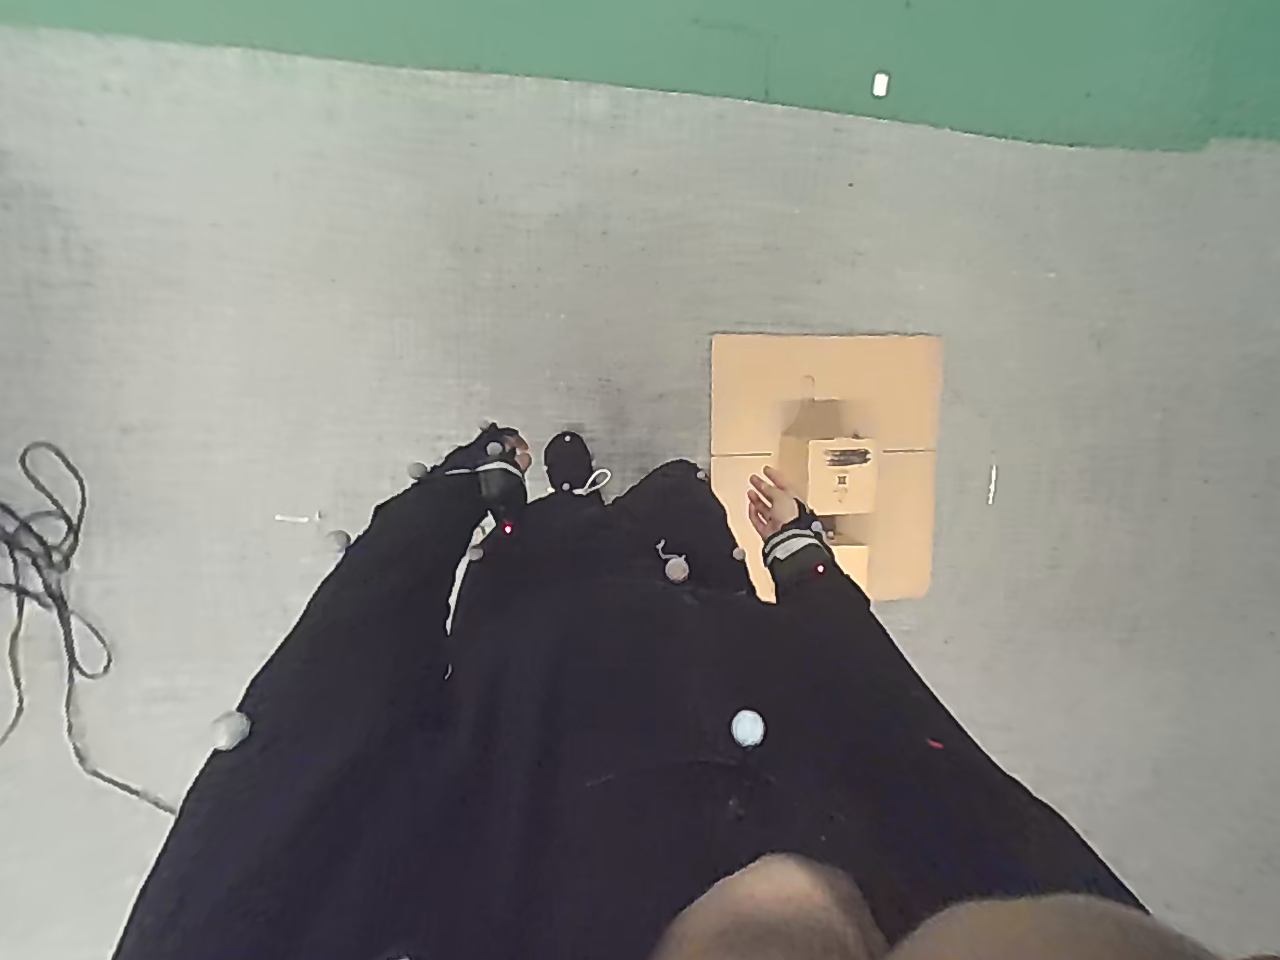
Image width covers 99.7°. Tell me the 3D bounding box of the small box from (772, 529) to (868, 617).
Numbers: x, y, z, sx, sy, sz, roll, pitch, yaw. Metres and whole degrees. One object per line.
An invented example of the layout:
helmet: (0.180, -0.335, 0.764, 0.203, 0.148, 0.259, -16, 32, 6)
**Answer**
small box: (0.433, 0.220, 1.323, 0.168, 0.176, 0.179, 0, 98, -7)
